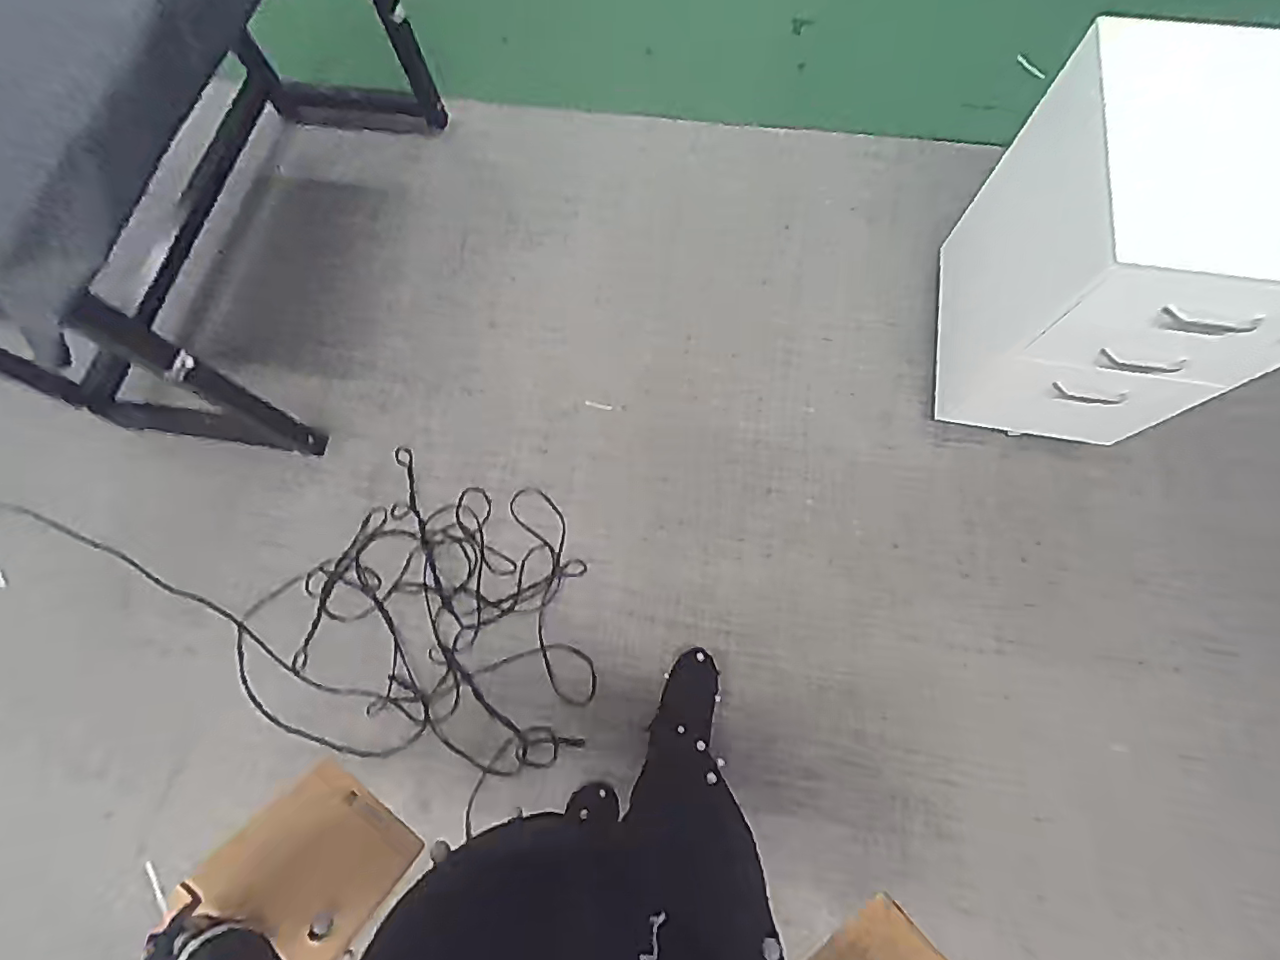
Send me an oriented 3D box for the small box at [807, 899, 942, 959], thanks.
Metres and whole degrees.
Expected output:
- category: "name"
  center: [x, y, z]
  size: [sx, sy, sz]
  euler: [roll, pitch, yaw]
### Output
- category: "small box"
  center: [0.273, 0.602, 0.569]
  size: [0.168, 0.176, 0.179]
  euler: [-29, 118, -18]
